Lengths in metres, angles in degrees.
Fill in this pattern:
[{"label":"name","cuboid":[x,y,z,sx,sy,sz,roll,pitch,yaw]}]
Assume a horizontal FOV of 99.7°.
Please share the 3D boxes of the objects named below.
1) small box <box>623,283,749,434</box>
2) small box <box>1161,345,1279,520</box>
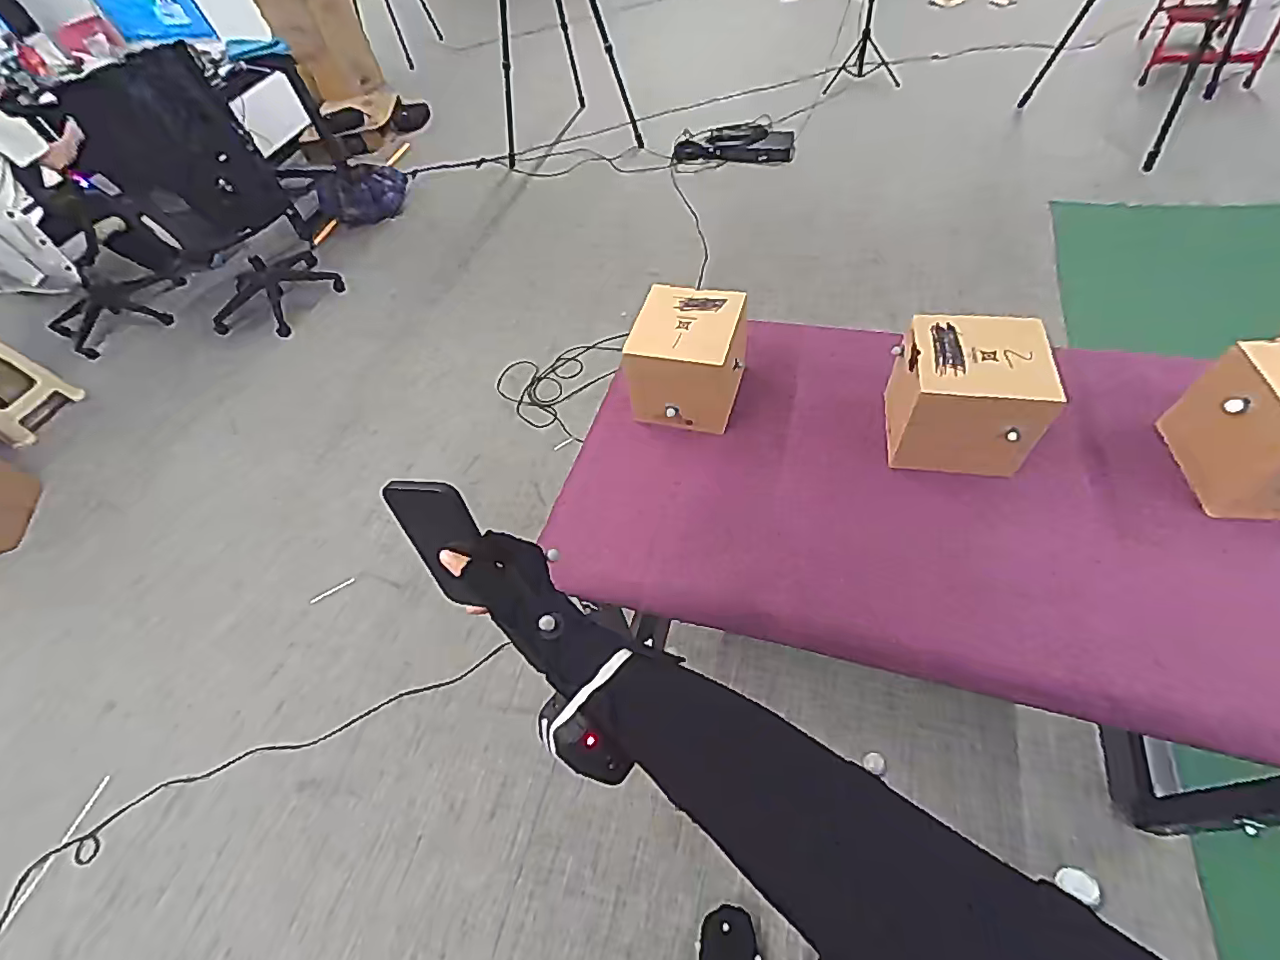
[{"label":"small box","cuboid":[0.085,-0.208,0.930,0.168,0.176,0.179,11,59,17]},{"label":"small box","cuboid":[0.852,-0.056,0.704,0.168,0.176,0.179,1,54,11]}]
